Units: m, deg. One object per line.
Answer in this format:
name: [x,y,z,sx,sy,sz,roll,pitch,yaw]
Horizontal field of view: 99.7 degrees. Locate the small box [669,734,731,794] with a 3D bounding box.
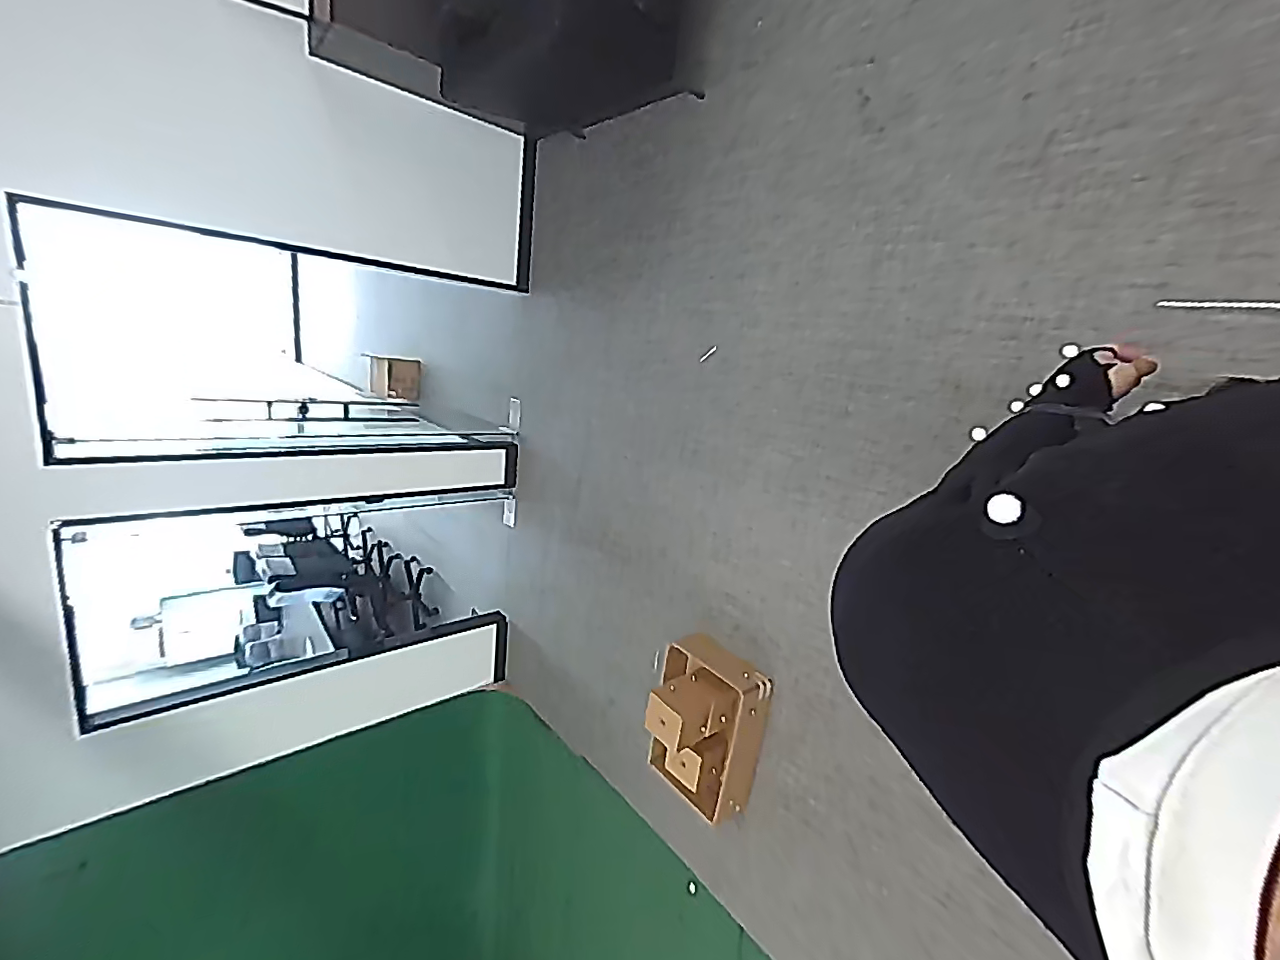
small box: [0.245,1.118,2.193,0.179,0.176,0.168,21,108,45]

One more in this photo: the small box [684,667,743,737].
small box: [0.283,0.866,2.132,0.179,0.176,0.168,21,110,45]

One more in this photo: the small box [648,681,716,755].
small box: [0.158,0.879,2.026,0.179,0.176,0.168,24,113,44]
